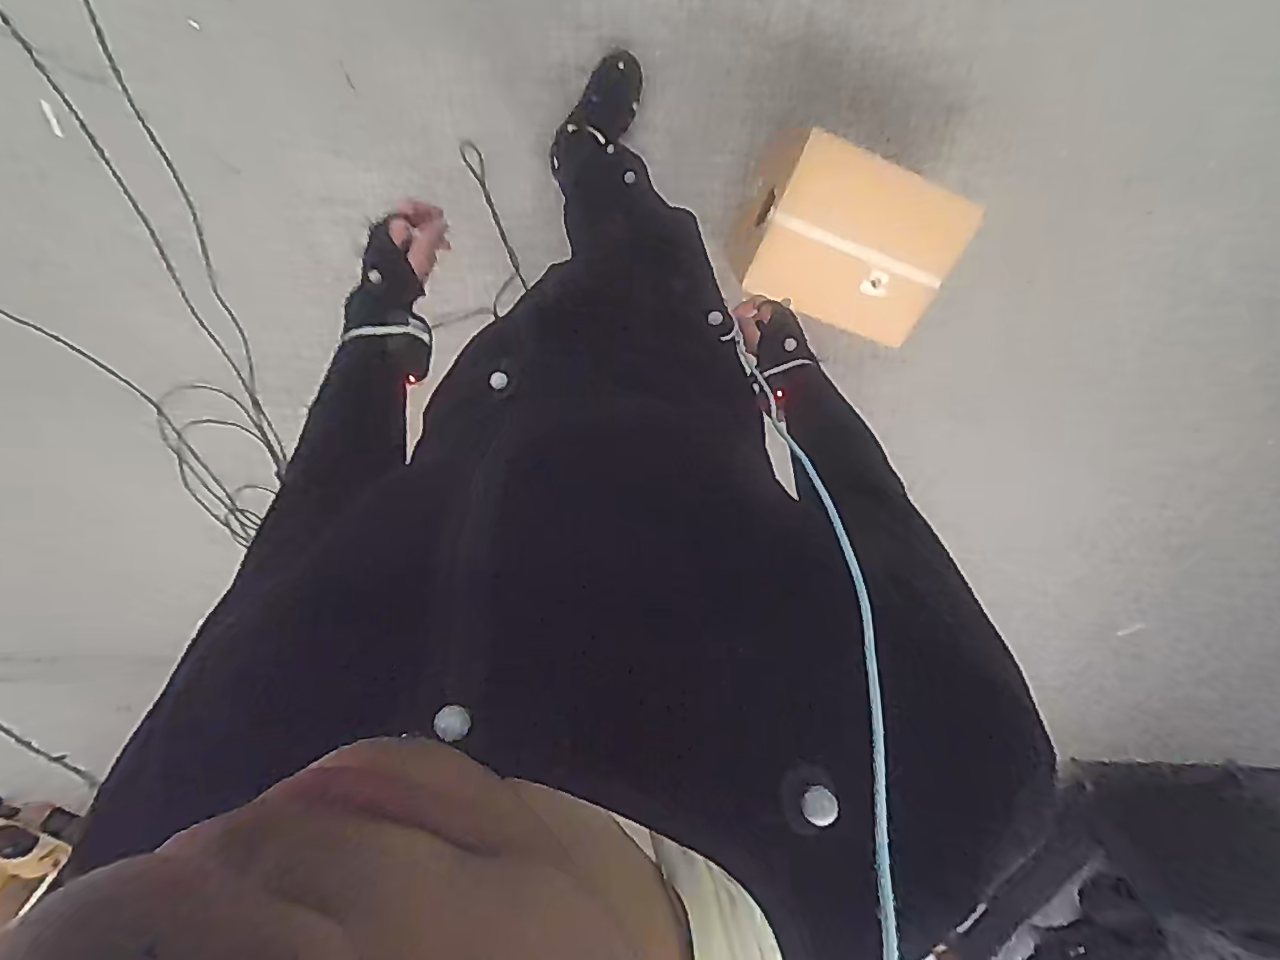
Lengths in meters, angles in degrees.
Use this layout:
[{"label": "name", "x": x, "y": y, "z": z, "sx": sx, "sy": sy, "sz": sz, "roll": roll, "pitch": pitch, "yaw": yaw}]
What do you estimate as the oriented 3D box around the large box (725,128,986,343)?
[{"label": "large box", "x": 0.452, "y": -0.565, "z": 1.238, "sx": 0.408, "sy": 0.320, "sz": 0.320, "roll": 17, "pitch": 123, "yaw": -11}]
